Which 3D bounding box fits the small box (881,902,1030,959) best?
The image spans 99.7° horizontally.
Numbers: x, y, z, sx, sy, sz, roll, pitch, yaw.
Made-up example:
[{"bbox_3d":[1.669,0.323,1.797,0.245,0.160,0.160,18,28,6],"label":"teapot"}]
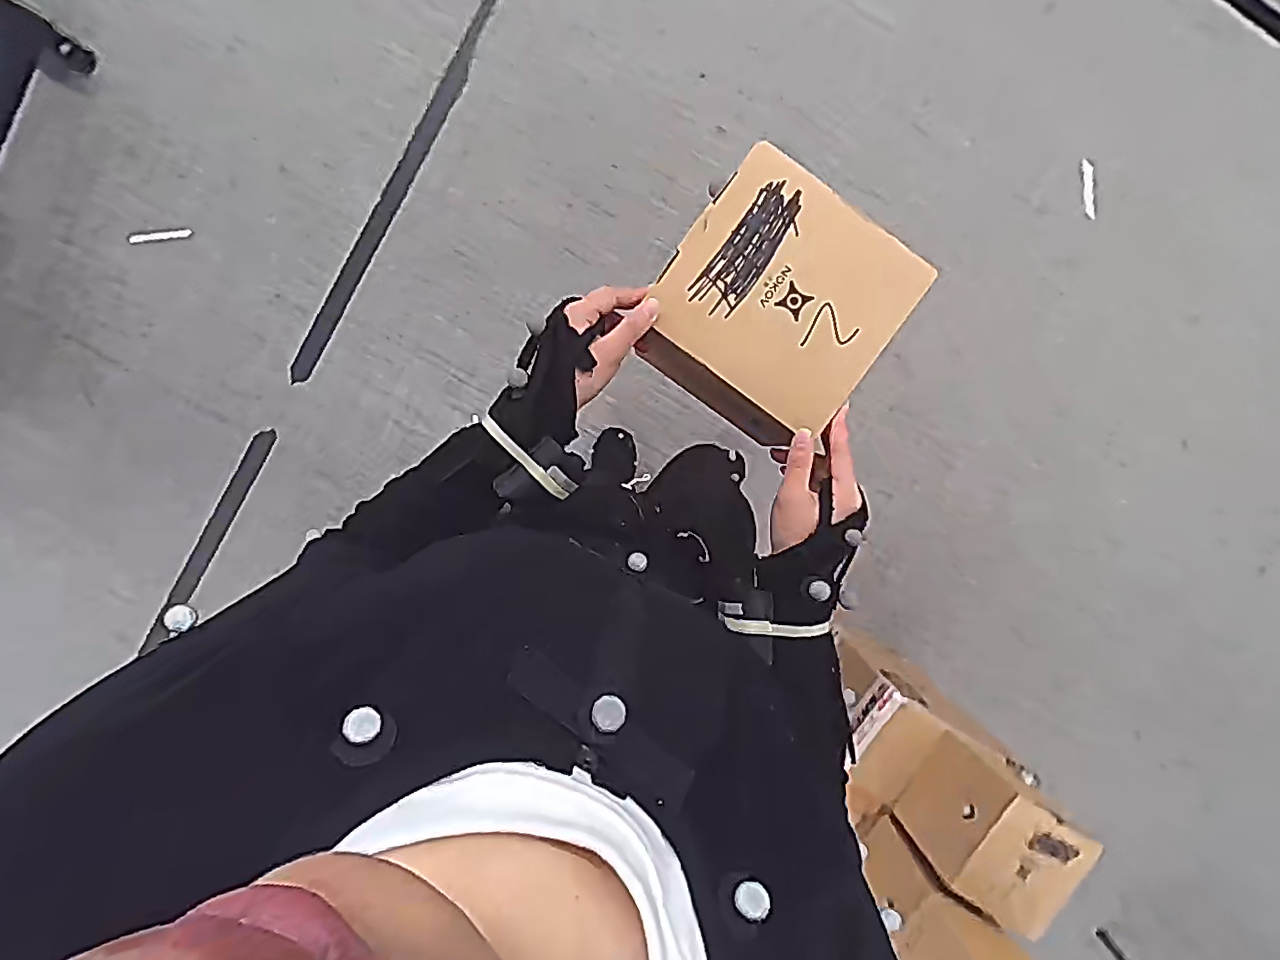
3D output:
[{"bbox_3d":[0.451,0.720,0.719,0.179,0.176,0.168,33,96,-4],"label":"small box"}]
